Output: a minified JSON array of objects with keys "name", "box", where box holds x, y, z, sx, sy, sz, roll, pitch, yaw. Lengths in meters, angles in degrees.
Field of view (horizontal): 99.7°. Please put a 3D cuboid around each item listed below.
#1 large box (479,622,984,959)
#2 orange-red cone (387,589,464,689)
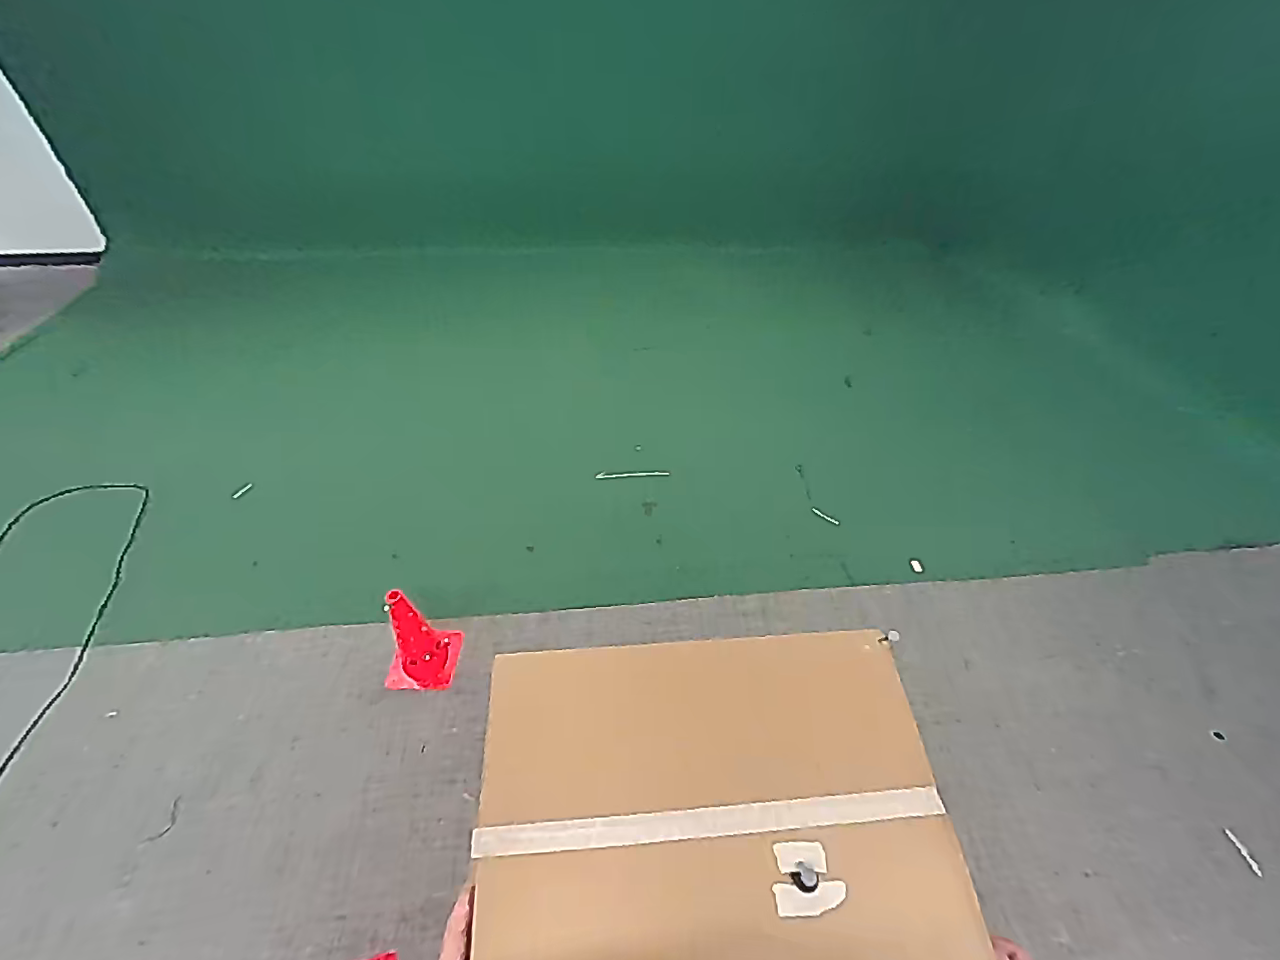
[{"name":"large box","box":[0.058,0.374,0.604,0.408,0.320,0.320,-3,57,-4]},{"name":"orange-red cone","box":[-0.679,0.444,1.602,0.199,0.360,0.198,1,43,1]}]
